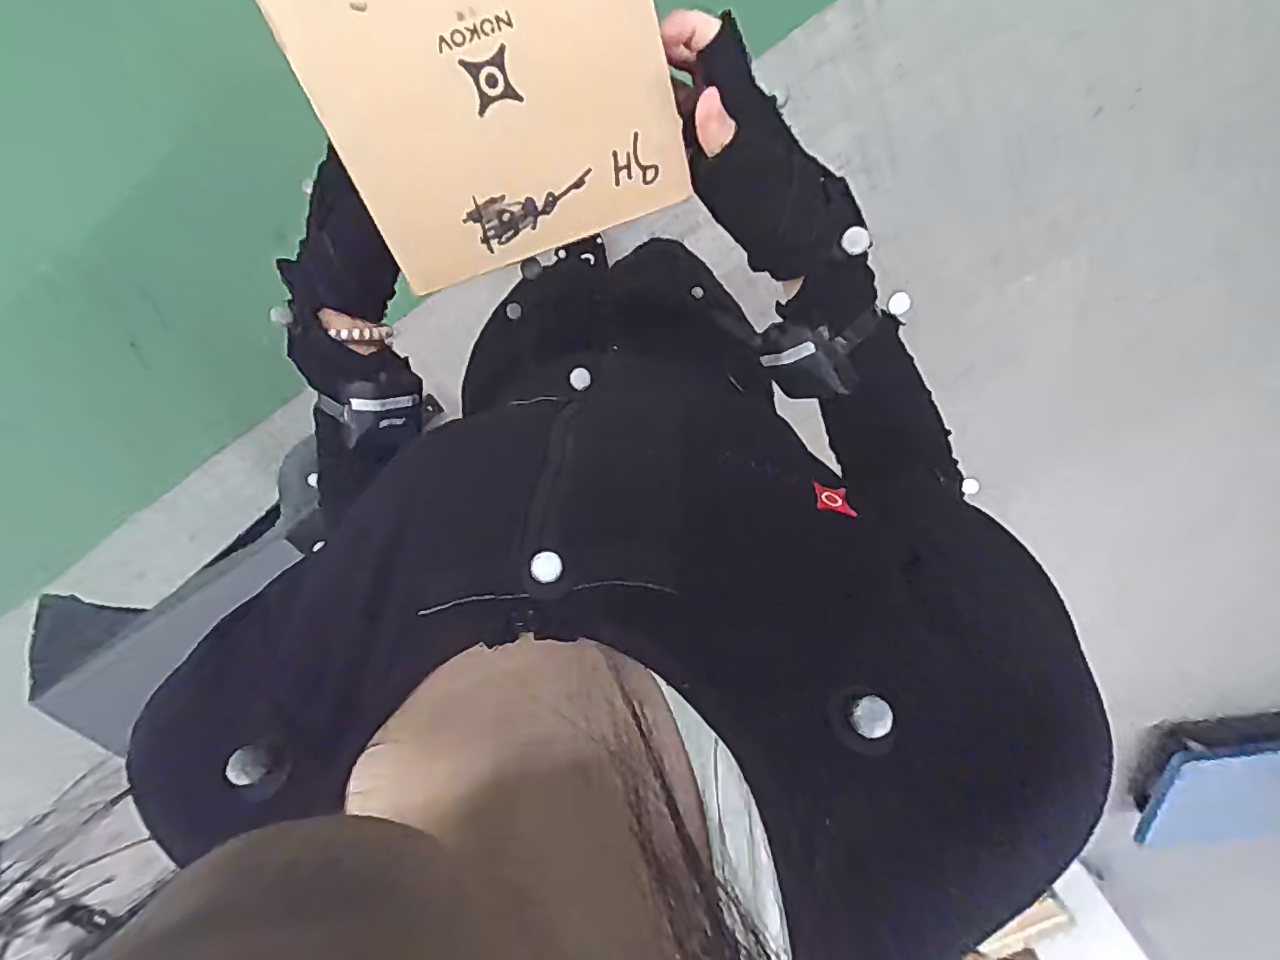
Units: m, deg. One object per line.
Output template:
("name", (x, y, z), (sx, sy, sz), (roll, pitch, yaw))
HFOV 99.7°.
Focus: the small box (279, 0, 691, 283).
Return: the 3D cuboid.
("small box", (-0.084, -0.244, 0.325), (0.168, 0.176, 0.179), (-19, 123, 0))
